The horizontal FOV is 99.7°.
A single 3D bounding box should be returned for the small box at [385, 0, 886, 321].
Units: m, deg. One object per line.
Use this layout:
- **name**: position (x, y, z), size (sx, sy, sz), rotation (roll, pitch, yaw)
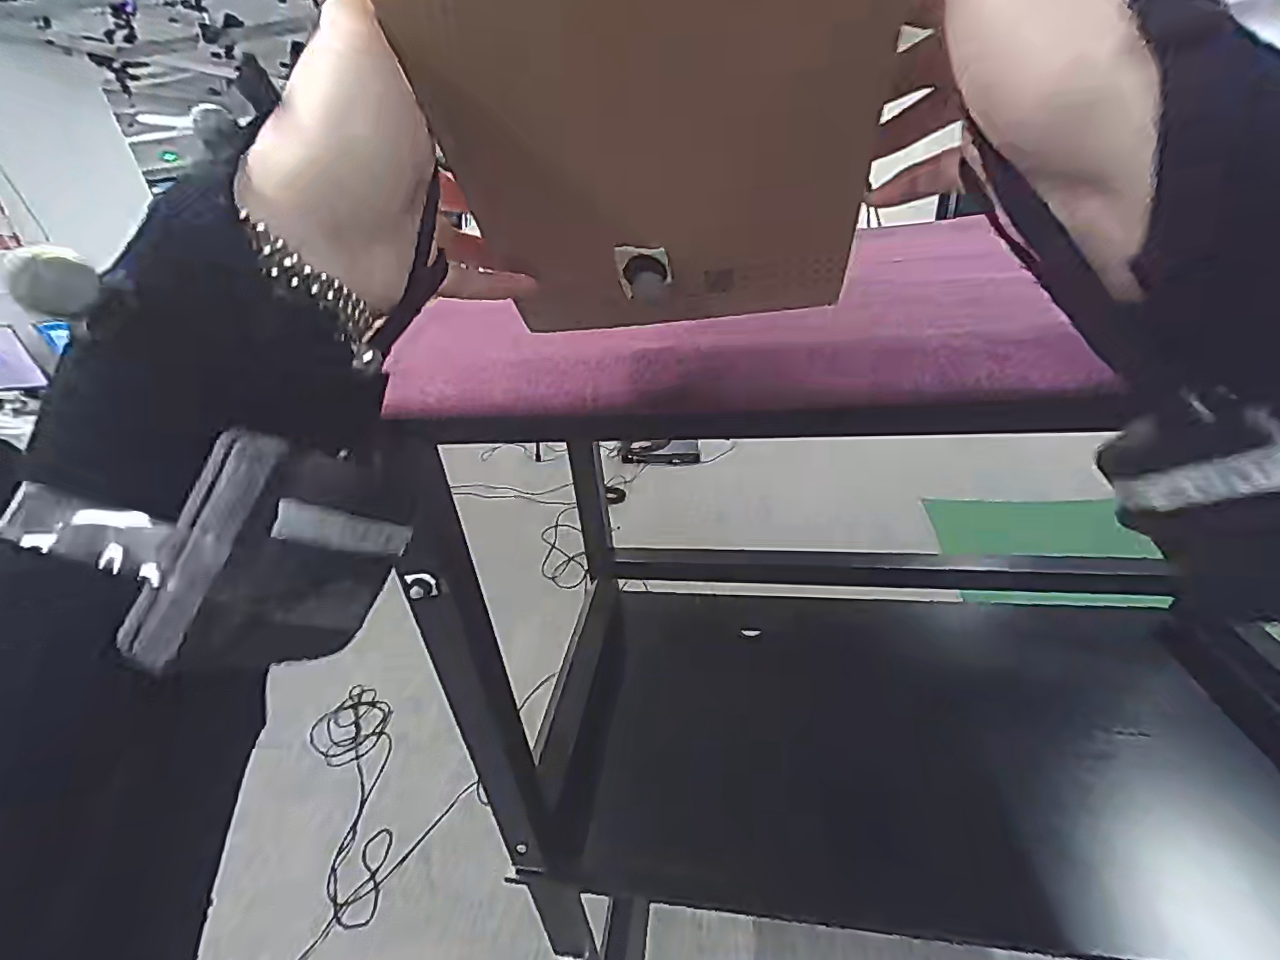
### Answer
- **small box**: position (0.003, -0.203, 0.251), size (0.168, 0.176, 0.179), rotation (-6, 62, 9)
